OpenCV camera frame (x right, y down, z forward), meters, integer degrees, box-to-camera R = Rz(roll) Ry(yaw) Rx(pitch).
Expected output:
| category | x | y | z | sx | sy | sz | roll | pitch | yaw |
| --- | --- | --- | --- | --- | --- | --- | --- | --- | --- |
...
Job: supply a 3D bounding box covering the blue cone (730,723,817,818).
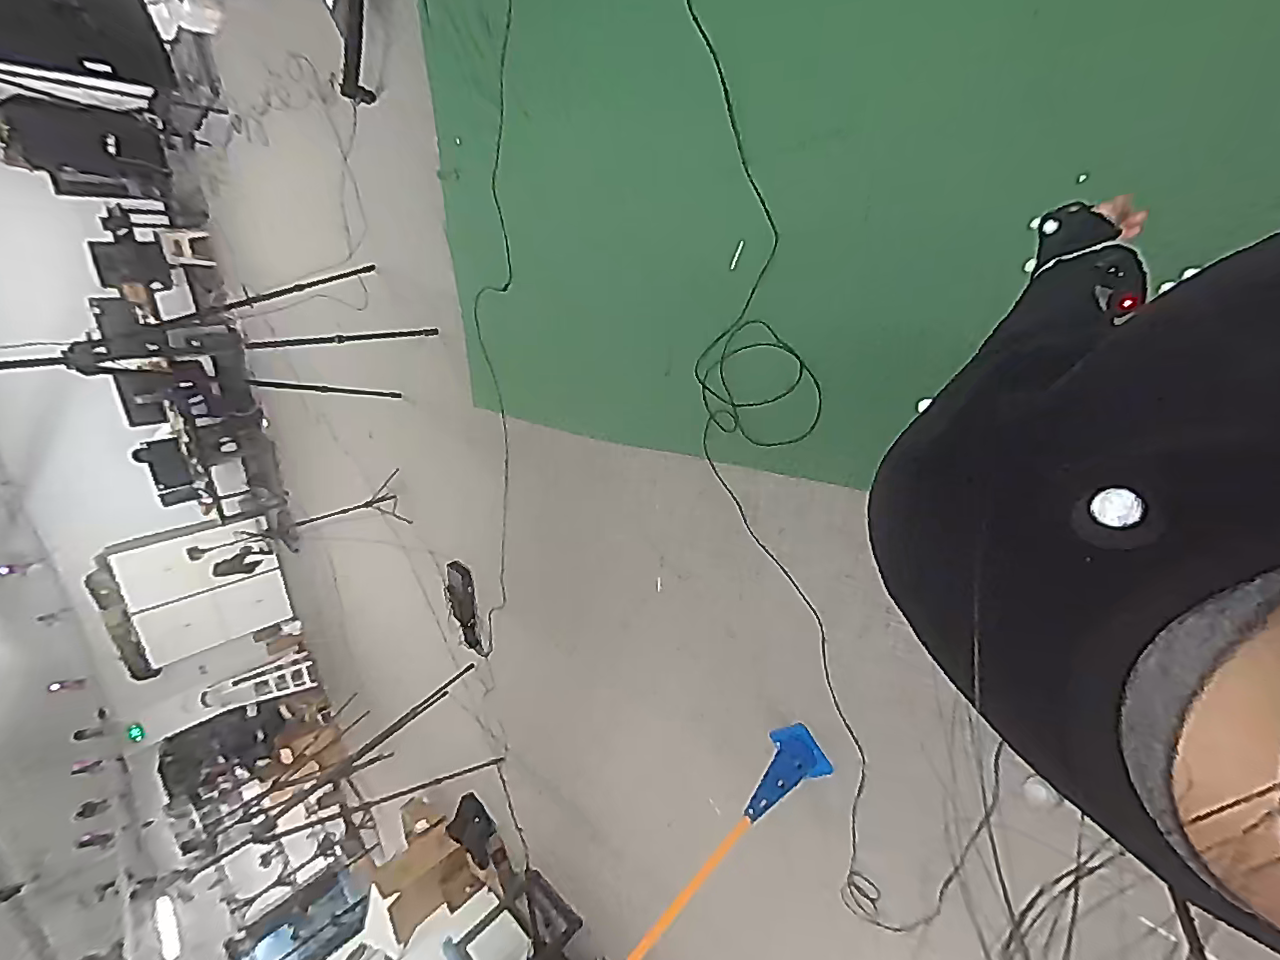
| category | x | y | z | sx | sy | sz | roll | pitch | yaw |
| --- | --- | --- | --- | --- | --- | --- | --- | --- | --- |
| blue cone | 0.448 | 1.066 | 1.925 | 0.192 | 0.380 | 0.193 | 54 | 137 | 13 |
